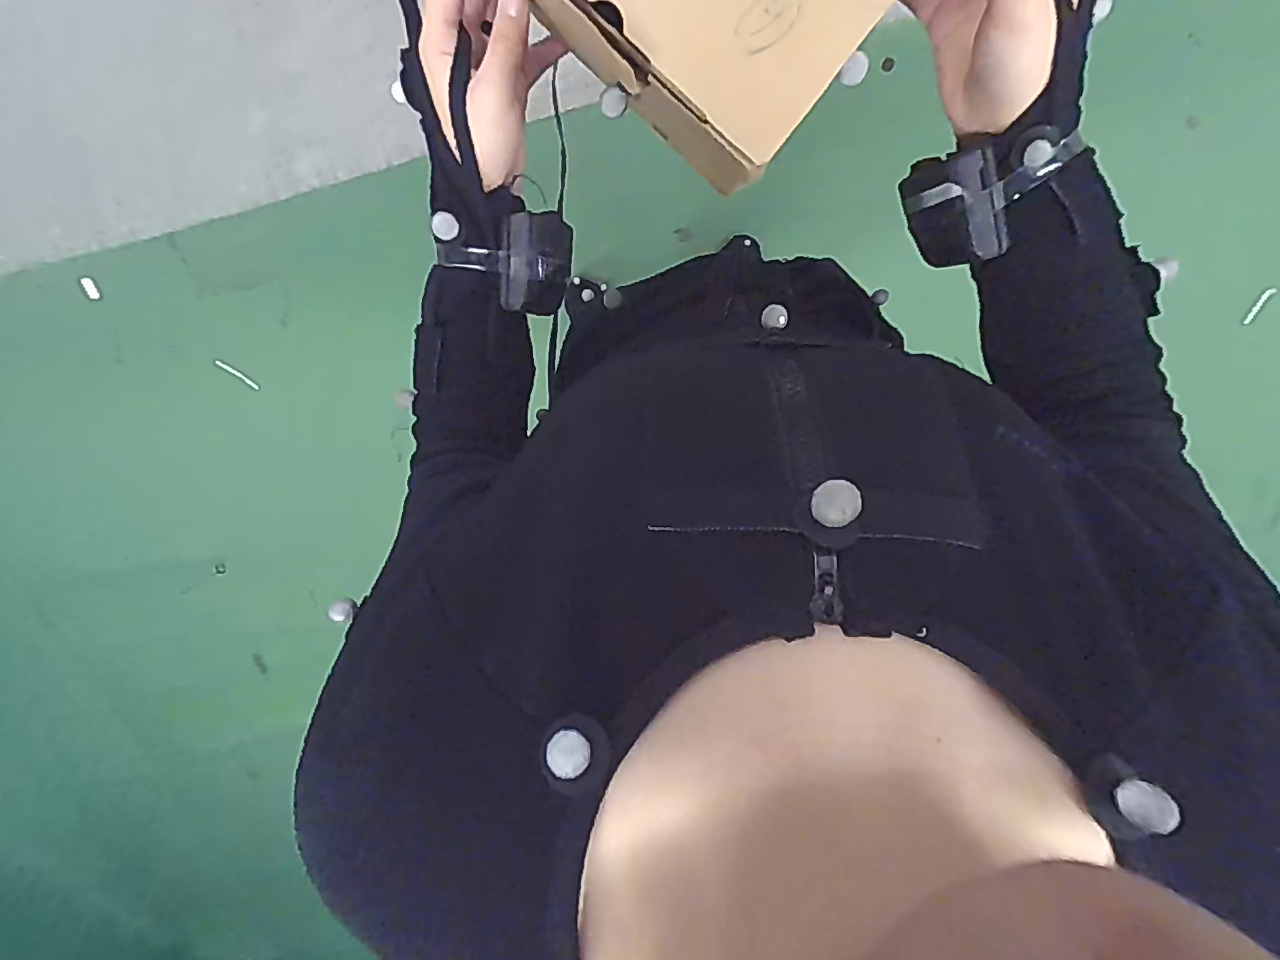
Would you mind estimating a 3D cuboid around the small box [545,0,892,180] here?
[{"bbox_3d":[0.048,-0.275,0.260,0.168,0.176,0.179,37,113,-12],"label":"small box"}]
